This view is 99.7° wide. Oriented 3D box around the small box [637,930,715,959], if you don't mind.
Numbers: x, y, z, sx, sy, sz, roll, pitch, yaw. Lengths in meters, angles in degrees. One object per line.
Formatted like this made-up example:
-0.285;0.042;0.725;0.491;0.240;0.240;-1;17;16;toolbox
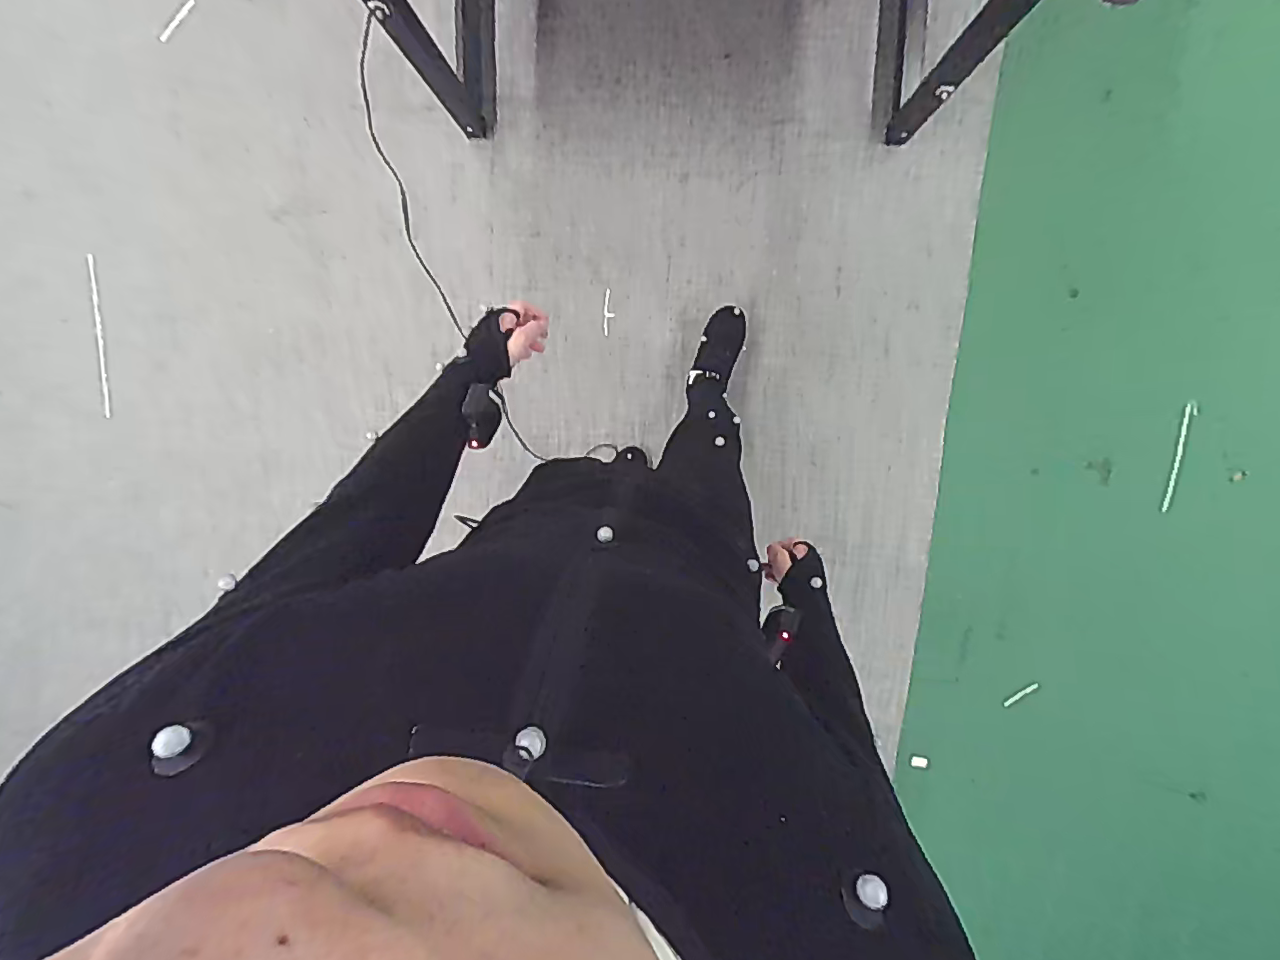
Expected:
0.072;1.087;1.110;0.168;0.176;0.179;8;99;-1;small box
